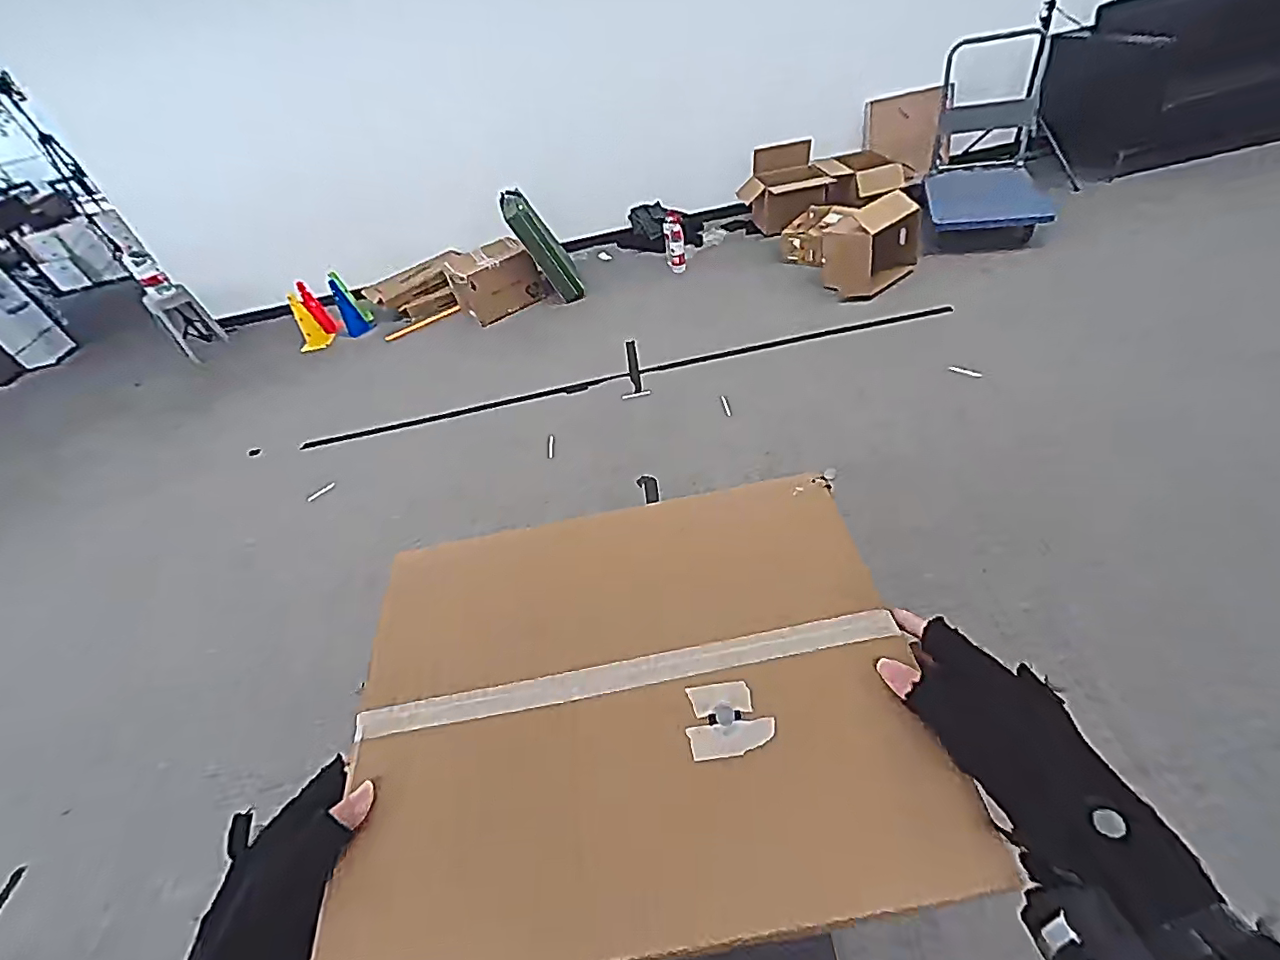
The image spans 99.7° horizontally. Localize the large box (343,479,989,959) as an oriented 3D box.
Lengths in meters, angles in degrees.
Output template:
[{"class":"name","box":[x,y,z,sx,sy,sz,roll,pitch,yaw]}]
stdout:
[{"class":"large box","box":[0.013,0.247,0.528,0.408,0.320,0.320,-11,49,1]}]
